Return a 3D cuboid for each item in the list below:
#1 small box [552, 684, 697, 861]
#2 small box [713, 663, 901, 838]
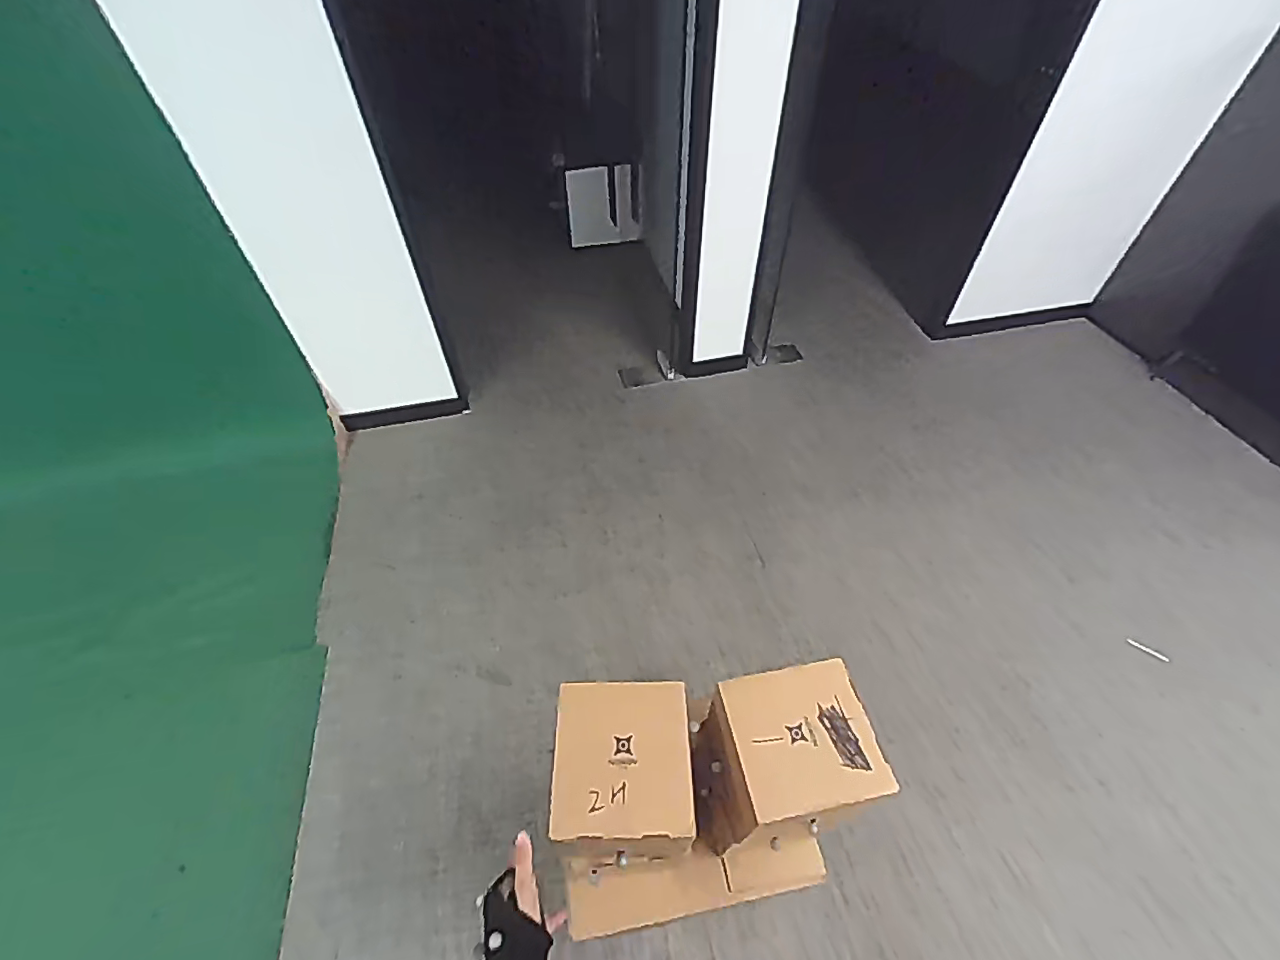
[{"bbox_3d":[-0.018,0.388,0.716,0.168,0.176,0.179,-1,49,0],"label":"small box"},{"bbox_3d":[0.207,0.366,0.728,0.179,0.176,0.168,-7,51,-5],"label":"small box"}]
